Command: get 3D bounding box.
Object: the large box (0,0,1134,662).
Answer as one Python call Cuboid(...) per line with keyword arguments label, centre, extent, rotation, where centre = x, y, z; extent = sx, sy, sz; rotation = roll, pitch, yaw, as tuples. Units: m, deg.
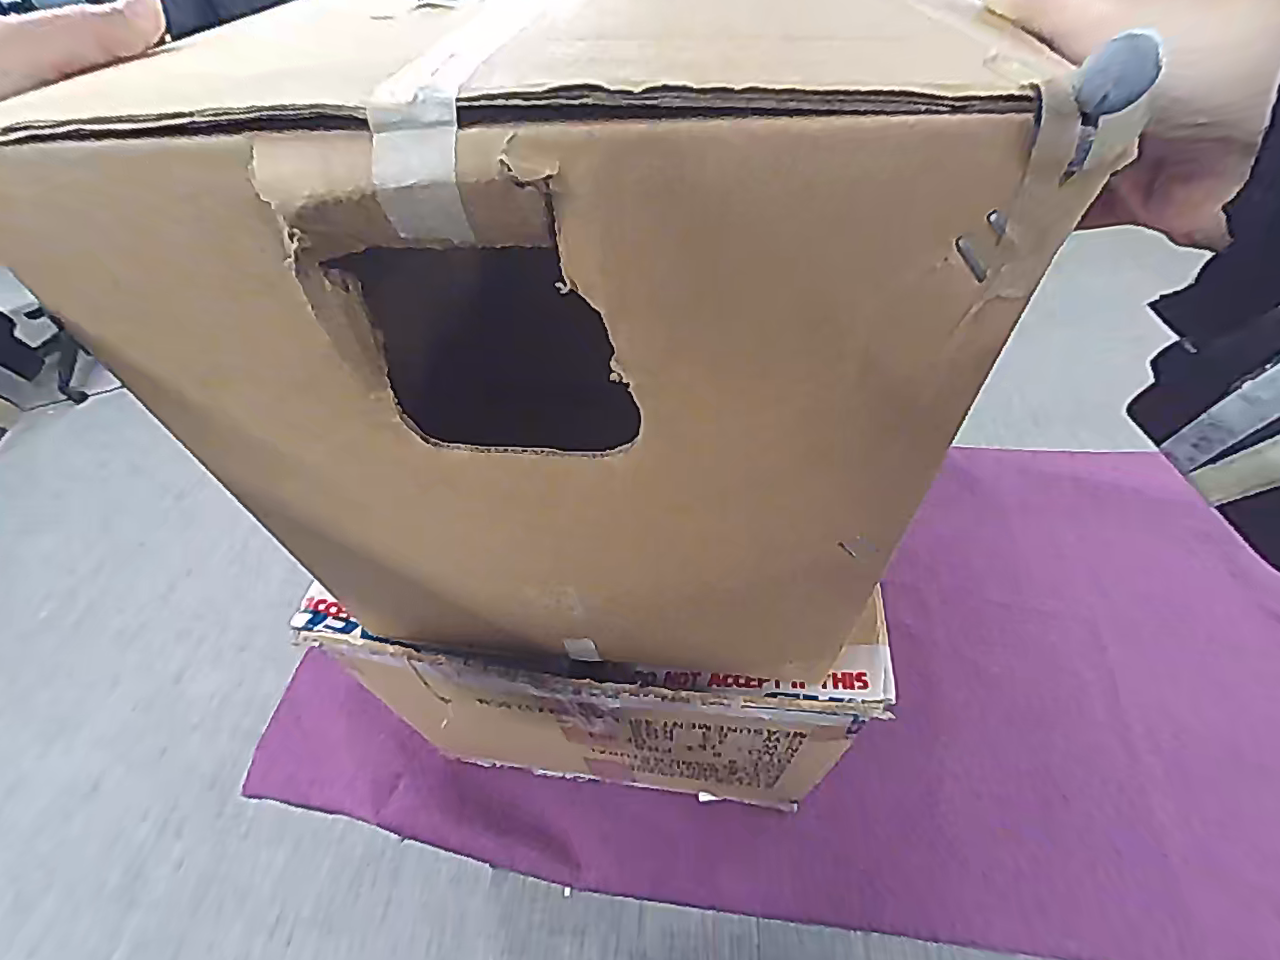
Cuboid(label="large box", centre=(-0.012, -0.136, 0.376), extent=(0.320, 0.320, 0.408), rotation=(2, 50, 8))
